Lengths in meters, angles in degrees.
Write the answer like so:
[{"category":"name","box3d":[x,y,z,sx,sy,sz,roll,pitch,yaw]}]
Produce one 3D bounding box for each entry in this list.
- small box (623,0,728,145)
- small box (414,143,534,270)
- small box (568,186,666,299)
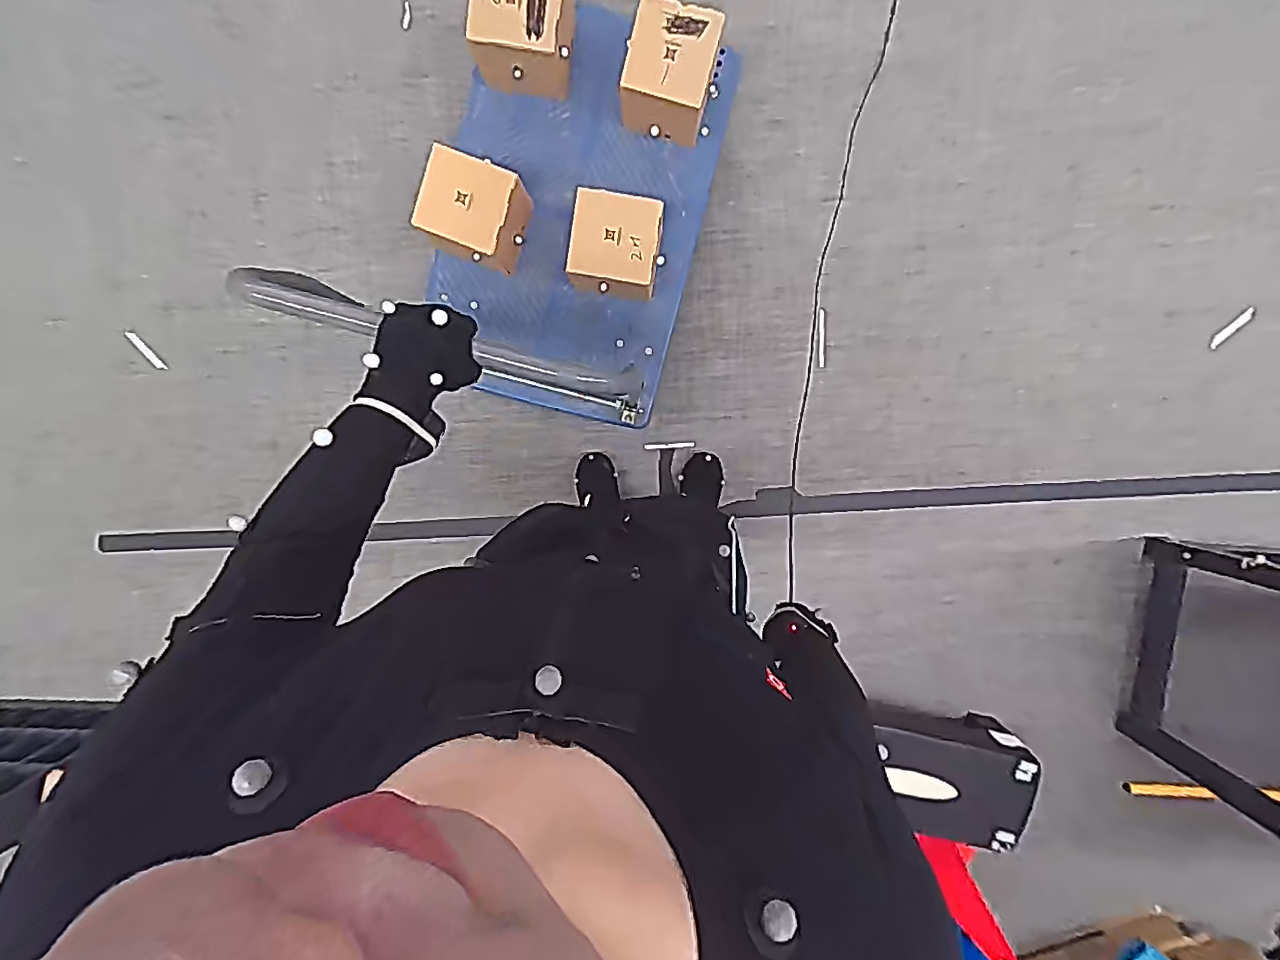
[{"category":"small box","box3d":[0.068,-0.835,1.111,0.168,0.176,0.179,16,99,-1]},{"category":"small box","box3d":[-0.344,-0.570,1.153,0.179,0.176,0.168,19,97,-3]},{"category":"small box","box3d":[-0.046,-0.498,1.157,0.179,0.176,0.168,10,98,0]}]
